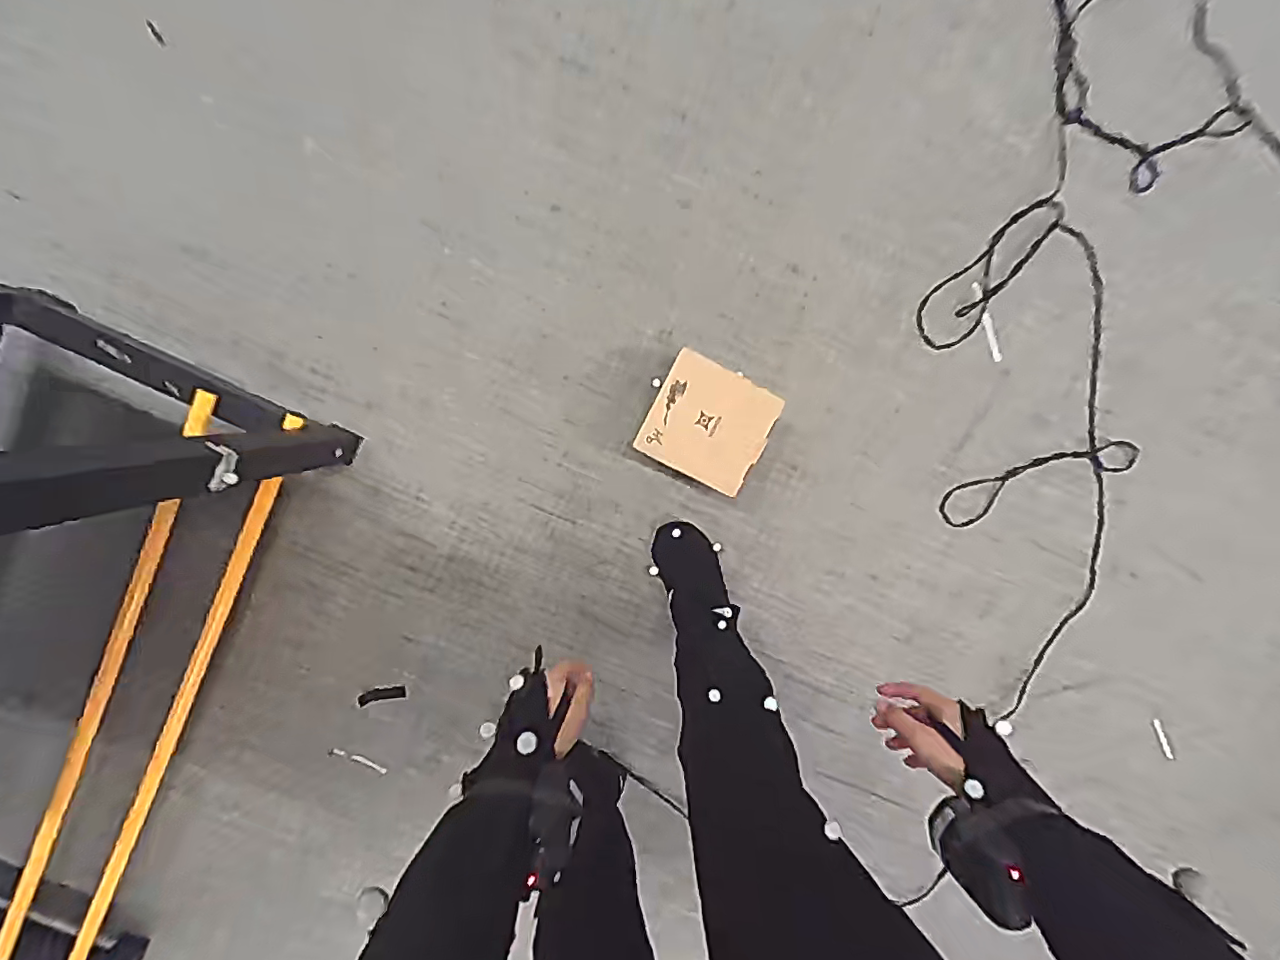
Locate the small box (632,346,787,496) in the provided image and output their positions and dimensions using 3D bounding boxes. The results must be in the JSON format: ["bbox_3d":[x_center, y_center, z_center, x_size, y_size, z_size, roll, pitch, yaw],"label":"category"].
[{"bbox_3d":[0.100,-0.097,0.866,0.179,0.176,0.168,27,97,-5],"label":"small box"}]
